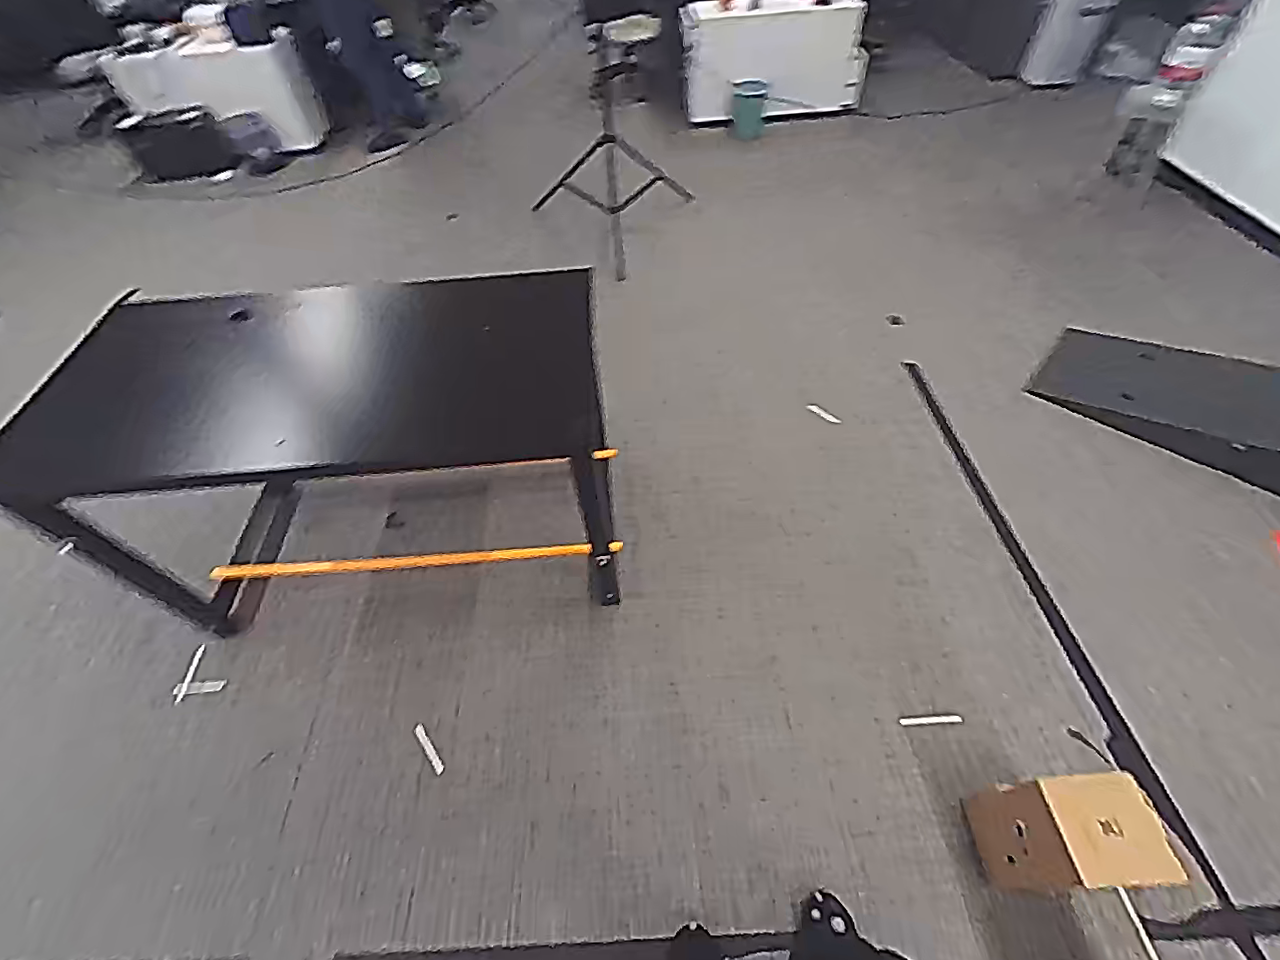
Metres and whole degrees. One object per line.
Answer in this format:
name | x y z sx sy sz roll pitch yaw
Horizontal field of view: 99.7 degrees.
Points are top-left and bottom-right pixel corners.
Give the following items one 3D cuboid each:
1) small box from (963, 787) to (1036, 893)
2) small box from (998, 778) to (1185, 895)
small box | 0.823 0.759 1.140 0.168 0.176 0.179 -3 51 1
small box | 0.821 0.665 1.007 0.179 0.176 0.168 -5 51 1
